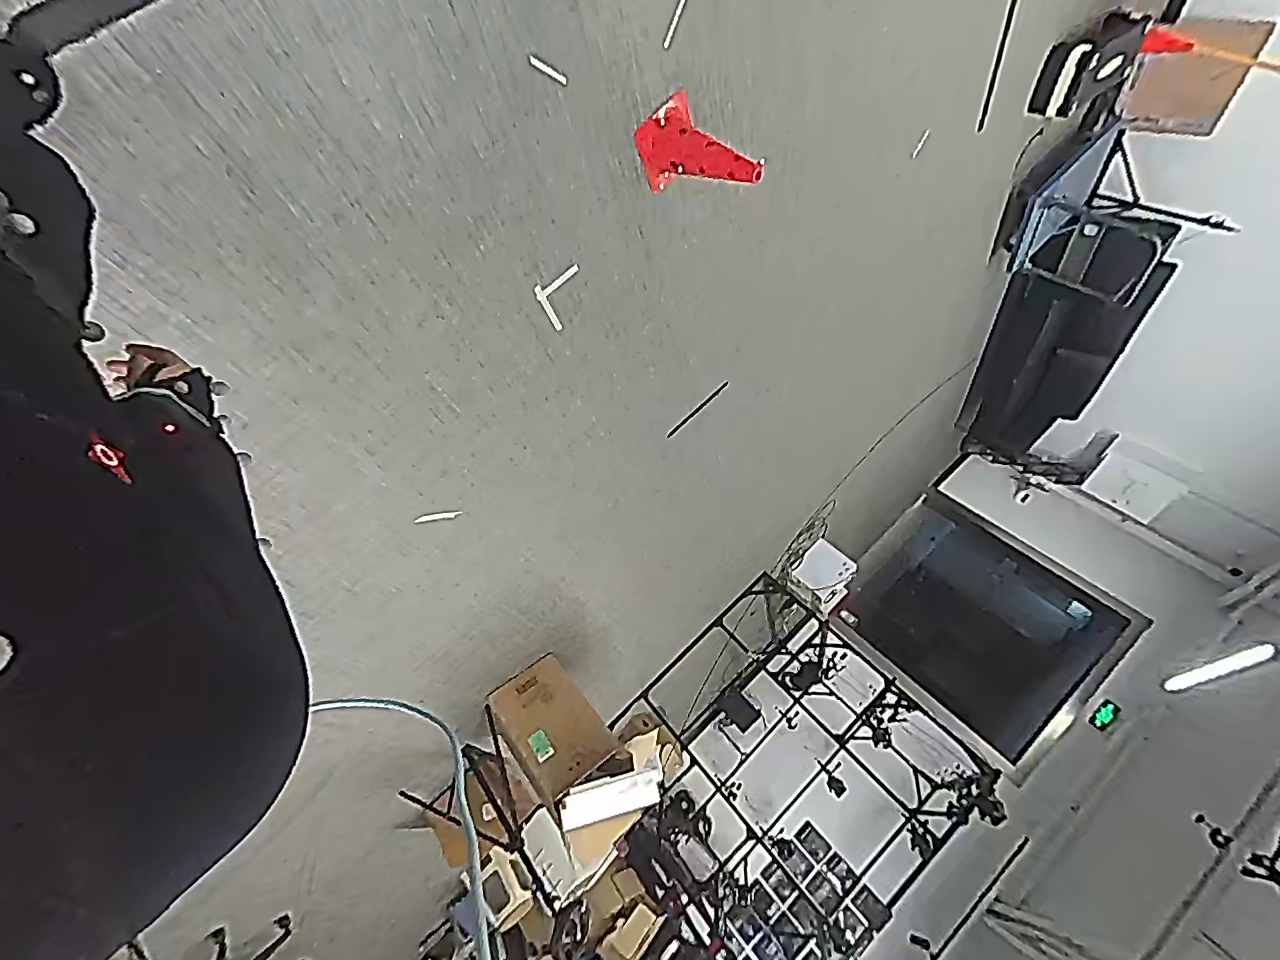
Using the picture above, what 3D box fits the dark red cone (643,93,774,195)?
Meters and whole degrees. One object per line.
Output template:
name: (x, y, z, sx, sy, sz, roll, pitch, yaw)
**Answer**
dark red cone: (0.204, -0.867, 1.459, 0.202, 0.394, 0.201, -46, 146, -5)
